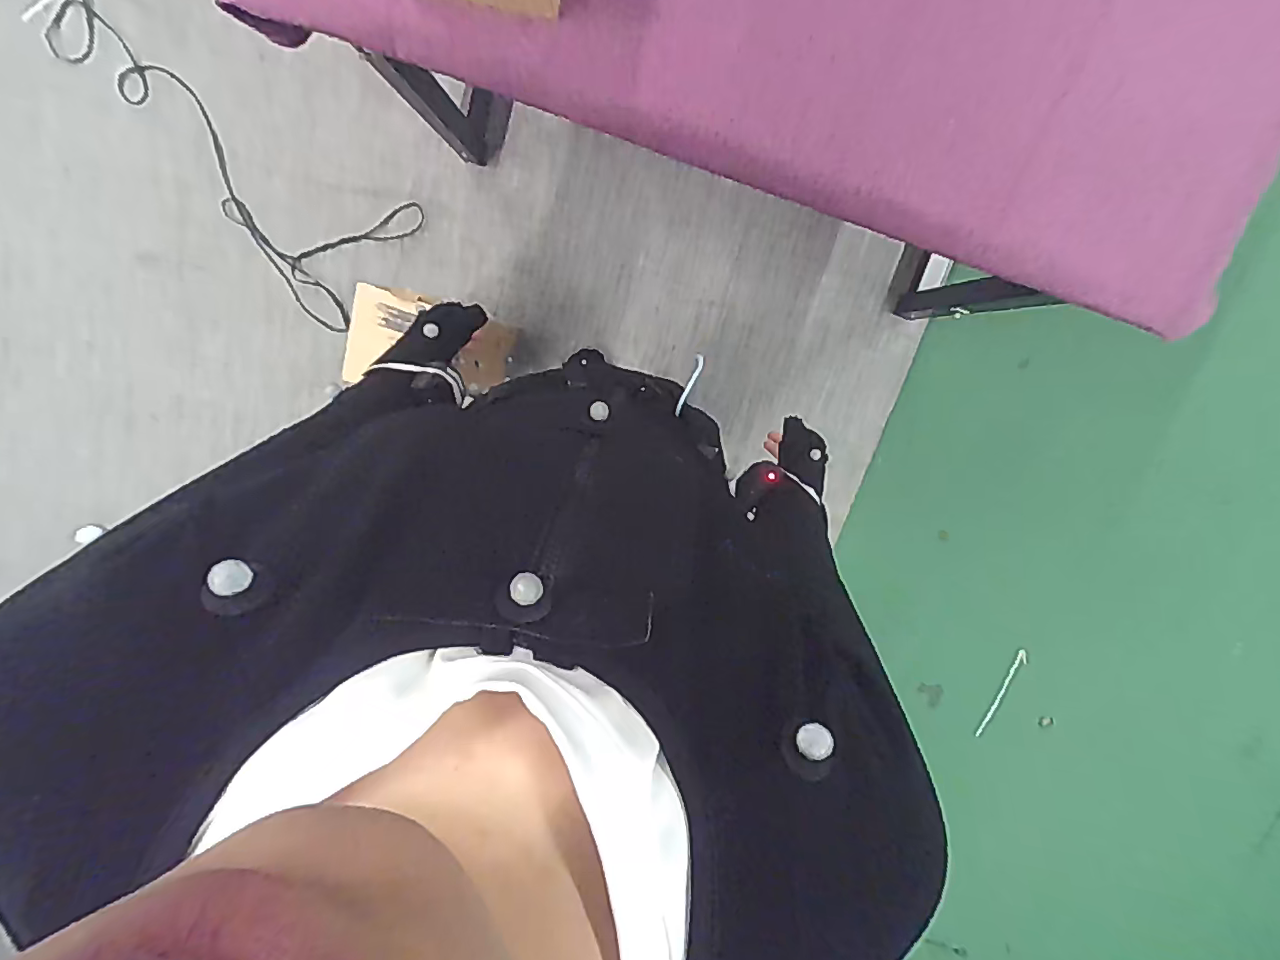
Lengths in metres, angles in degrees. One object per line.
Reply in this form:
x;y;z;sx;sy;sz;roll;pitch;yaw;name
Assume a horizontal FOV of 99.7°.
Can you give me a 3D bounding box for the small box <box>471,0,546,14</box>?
-0.164;-0.597;0.514;0.179;0.176;0.168;12;102;-3;small box
